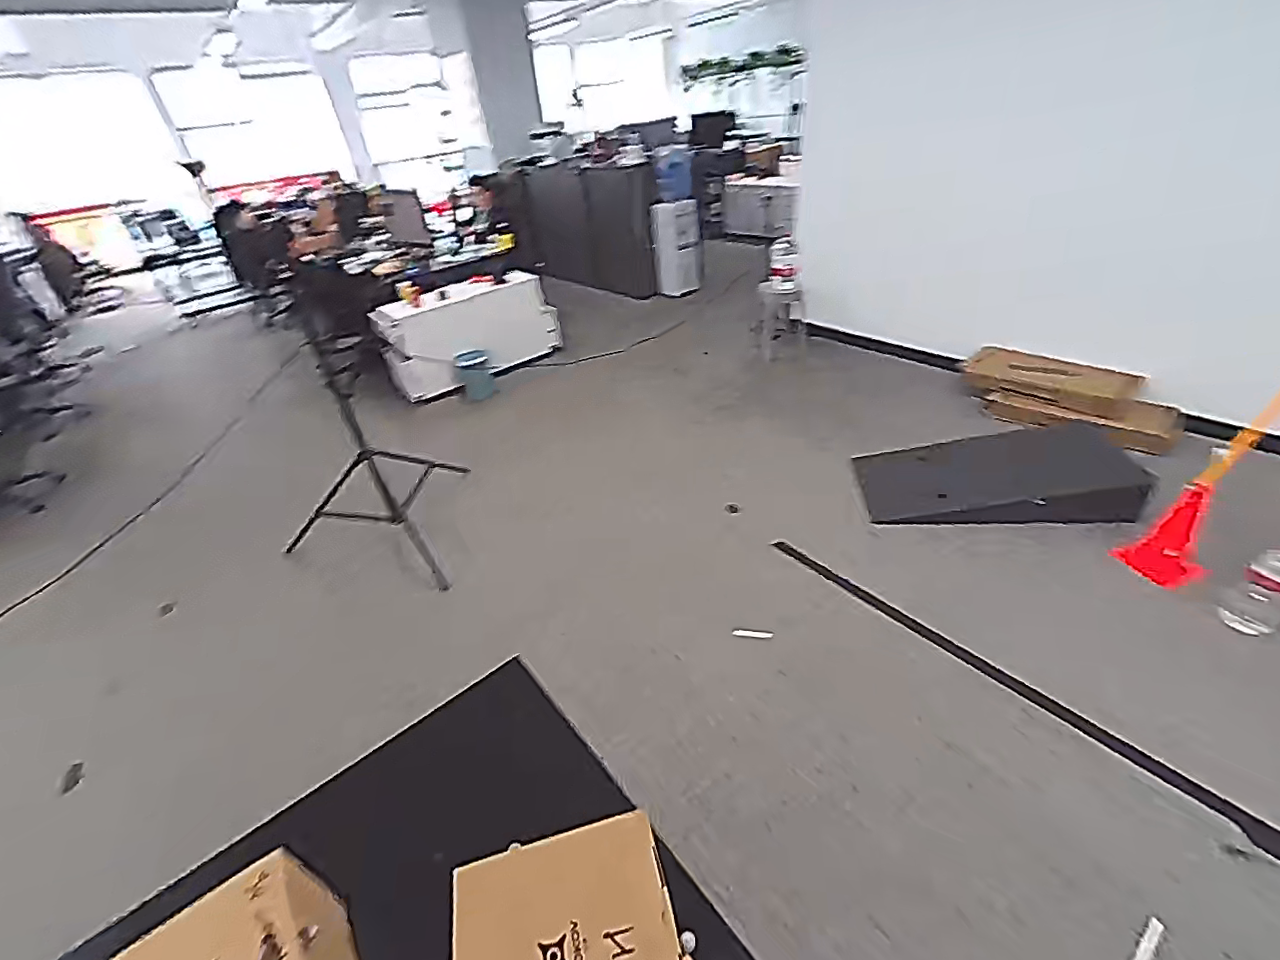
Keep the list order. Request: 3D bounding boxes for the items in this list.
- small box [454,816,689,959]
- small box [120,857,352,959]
[{"bbox_3d":[-0.046,0.427,0.462,0.179,0.176,0.168,-13,41,-7],"label":"small box"},{"bbox_3d":[-0.416,0.552,0.554,0.179,0.176,0.168,-29,40,-27],"label":"small box"}]
